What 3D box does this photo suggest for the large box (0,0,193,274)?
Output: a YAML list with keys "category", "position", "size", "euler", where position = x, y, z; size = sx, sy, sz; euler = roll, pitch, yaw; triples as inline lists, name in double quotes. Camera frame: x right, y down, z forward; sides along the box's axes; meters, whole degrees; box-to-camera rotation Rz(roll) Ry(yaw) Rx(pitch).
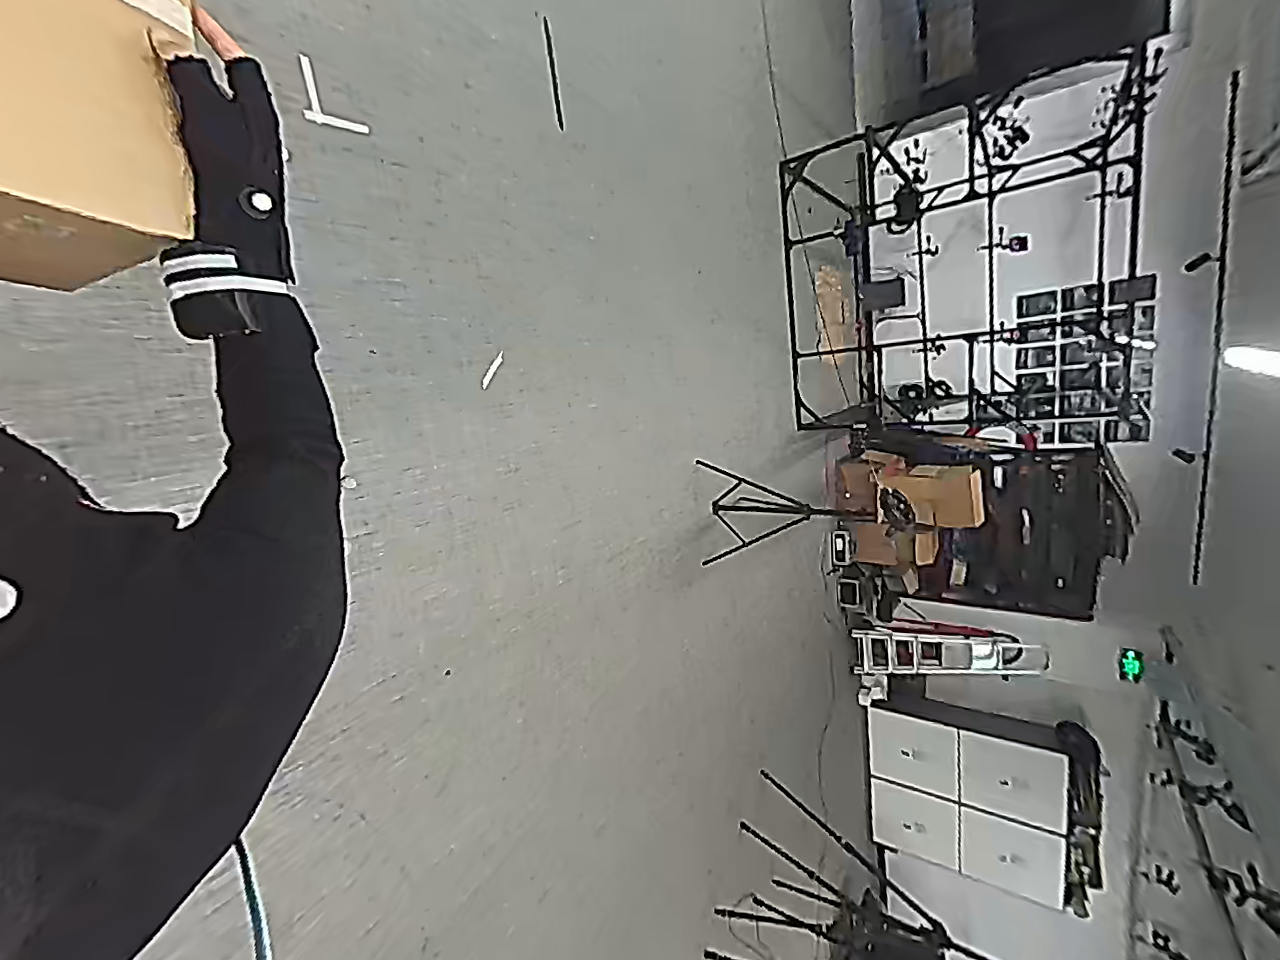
- category: "large box"
  position: [-0.576, -0.348, 0.317]
  size: [0.408, 0.320, 0.320]
  euler: [-5, 98, -59]
